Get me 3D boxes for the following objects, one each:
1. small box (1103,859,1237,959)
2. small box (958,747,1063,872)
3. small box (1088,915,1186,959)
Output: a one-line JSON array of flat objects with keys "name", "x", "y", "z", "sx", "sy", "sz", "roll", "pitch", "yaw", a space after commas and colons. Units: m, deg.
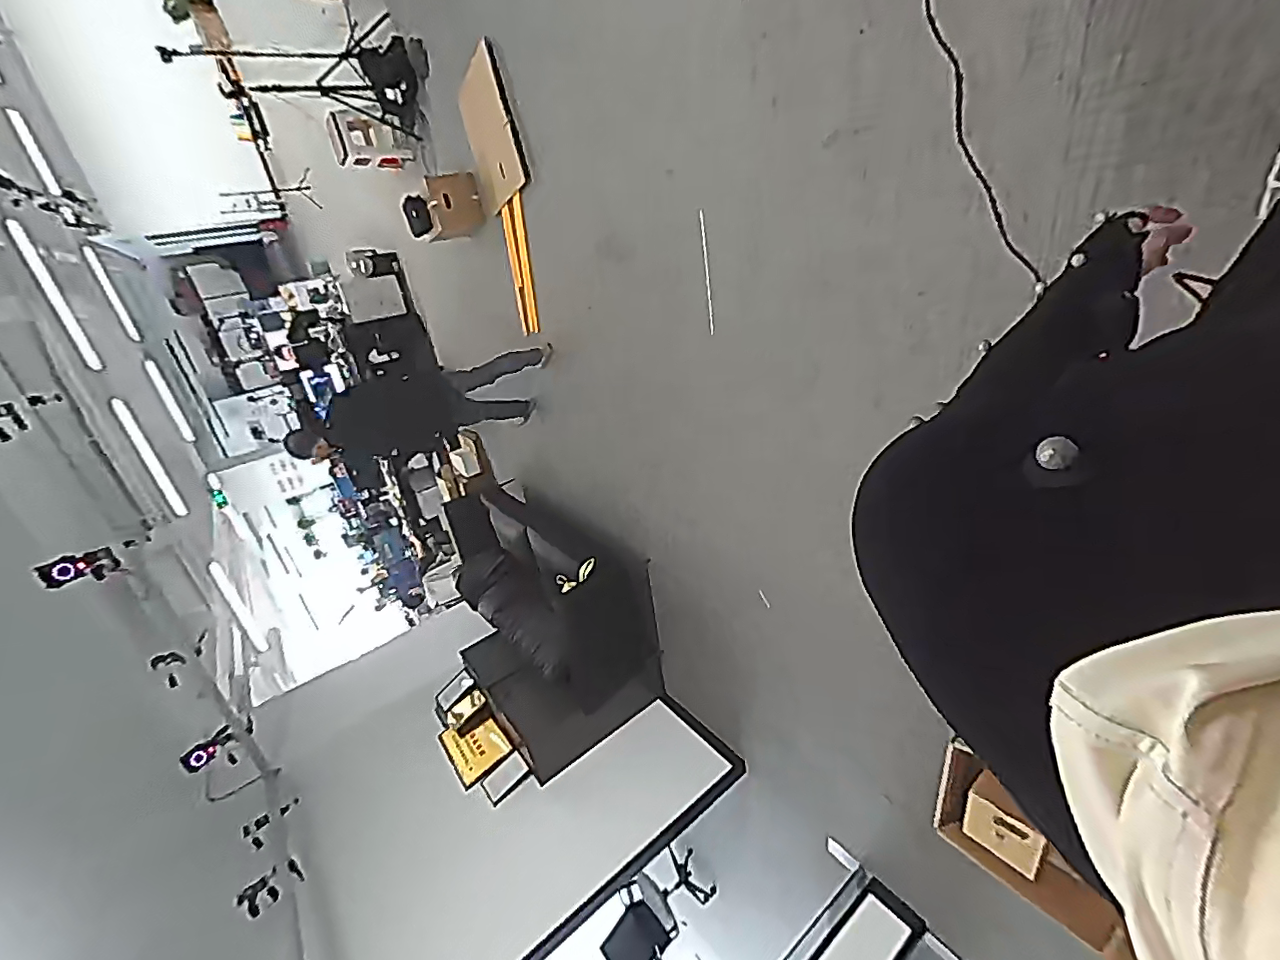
[{"name": "small box", "x": 1.154, "y": 0.995, "z": 1.186, "sx": 0.168, "sy": 0.176, "sz": 0.179, "roll": 26, "pitch": 132, "yaw": 46}, {"name": "small box", "x": 0.944, "y": 0.828, "z": 1.377, "sx": 0.168, "sy": 0.176, "sz": 0.179, "roll": 24, "pitch": 132, "yaw": 48}, {"name": "small box", "x": 1.026, "y": 1.057, "z": 1.104, "sx": 0.168, "sy": 0.176, "sz": 0.179, "roll": 28, "pitch": 134, "yaw": 44}]
